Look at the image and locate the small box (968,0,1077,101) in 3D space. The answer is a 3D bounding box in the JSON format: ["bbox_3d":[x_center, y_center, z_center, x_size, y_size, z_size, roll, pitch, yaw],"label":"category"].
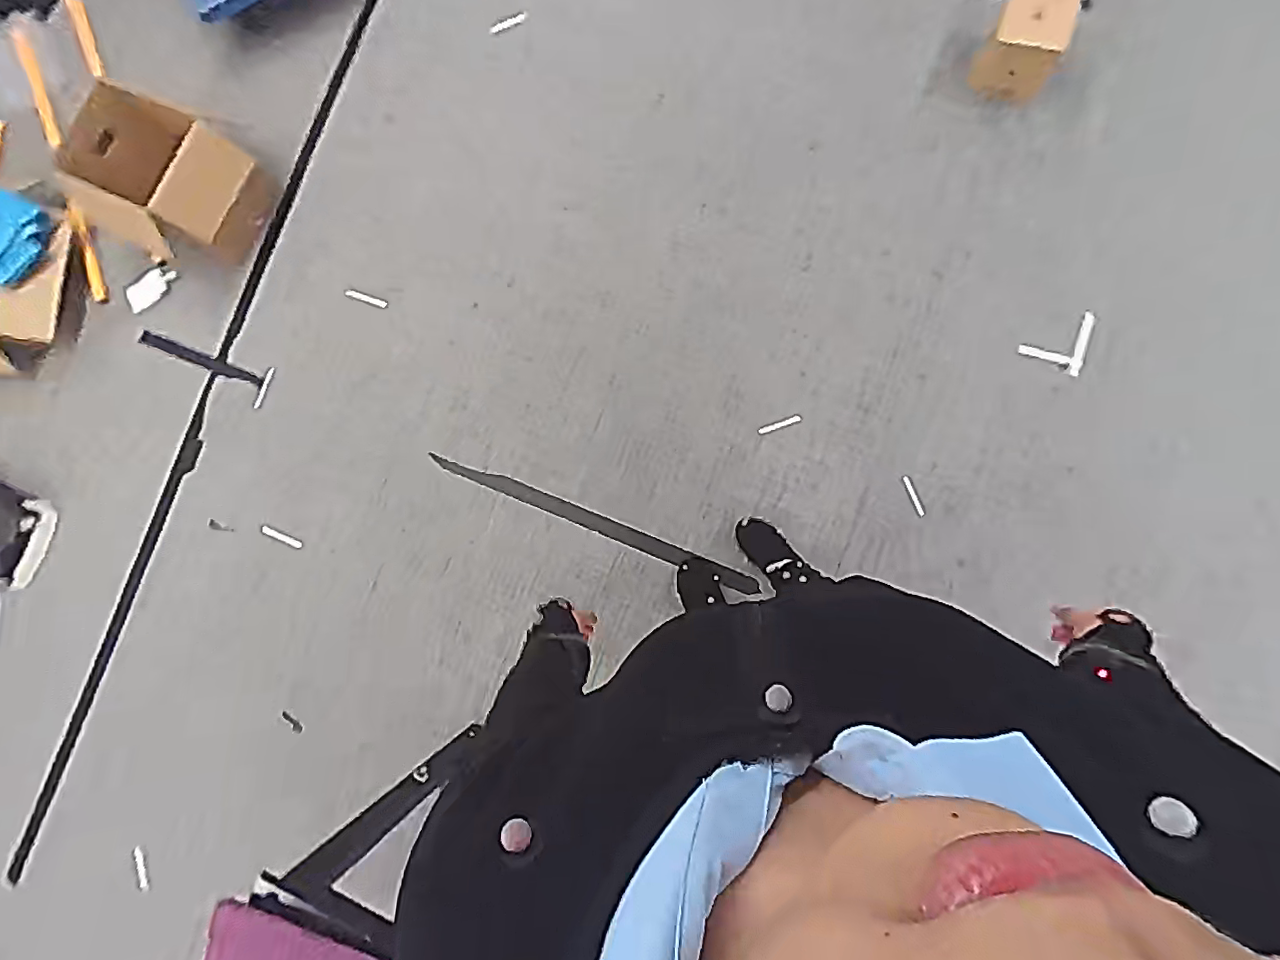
[{"bbox_3d":[1.006,-1.157,1.435,0.168,0.176,0.179,18,87,10],"label":"small box"}]
